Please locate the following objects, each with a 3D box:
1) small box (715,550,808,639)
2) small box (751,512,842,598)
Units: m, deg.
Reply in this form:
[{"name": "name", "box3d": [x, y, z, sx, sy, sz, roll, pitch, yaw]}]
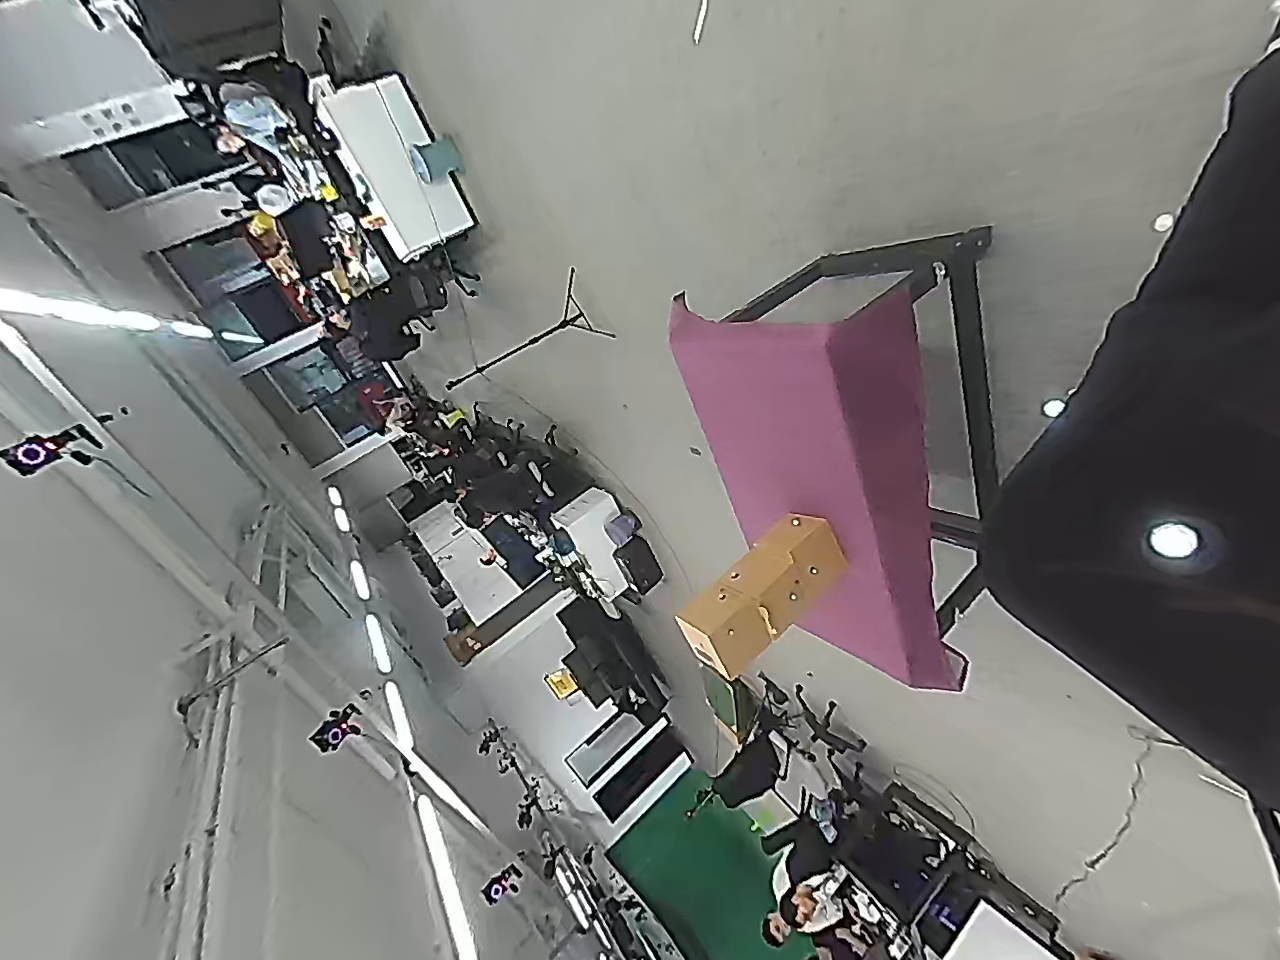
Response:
[{"name": "small box", "box3d": [0.358, 0.328, 1.593, 0.179, 0.176, 0.168, 15, 138, 59]}, {"name": "small box", "box3d": [0.477, 0.221, 1.636, 0.179, 0.176, 0.168, 61, 158, -17]}]
